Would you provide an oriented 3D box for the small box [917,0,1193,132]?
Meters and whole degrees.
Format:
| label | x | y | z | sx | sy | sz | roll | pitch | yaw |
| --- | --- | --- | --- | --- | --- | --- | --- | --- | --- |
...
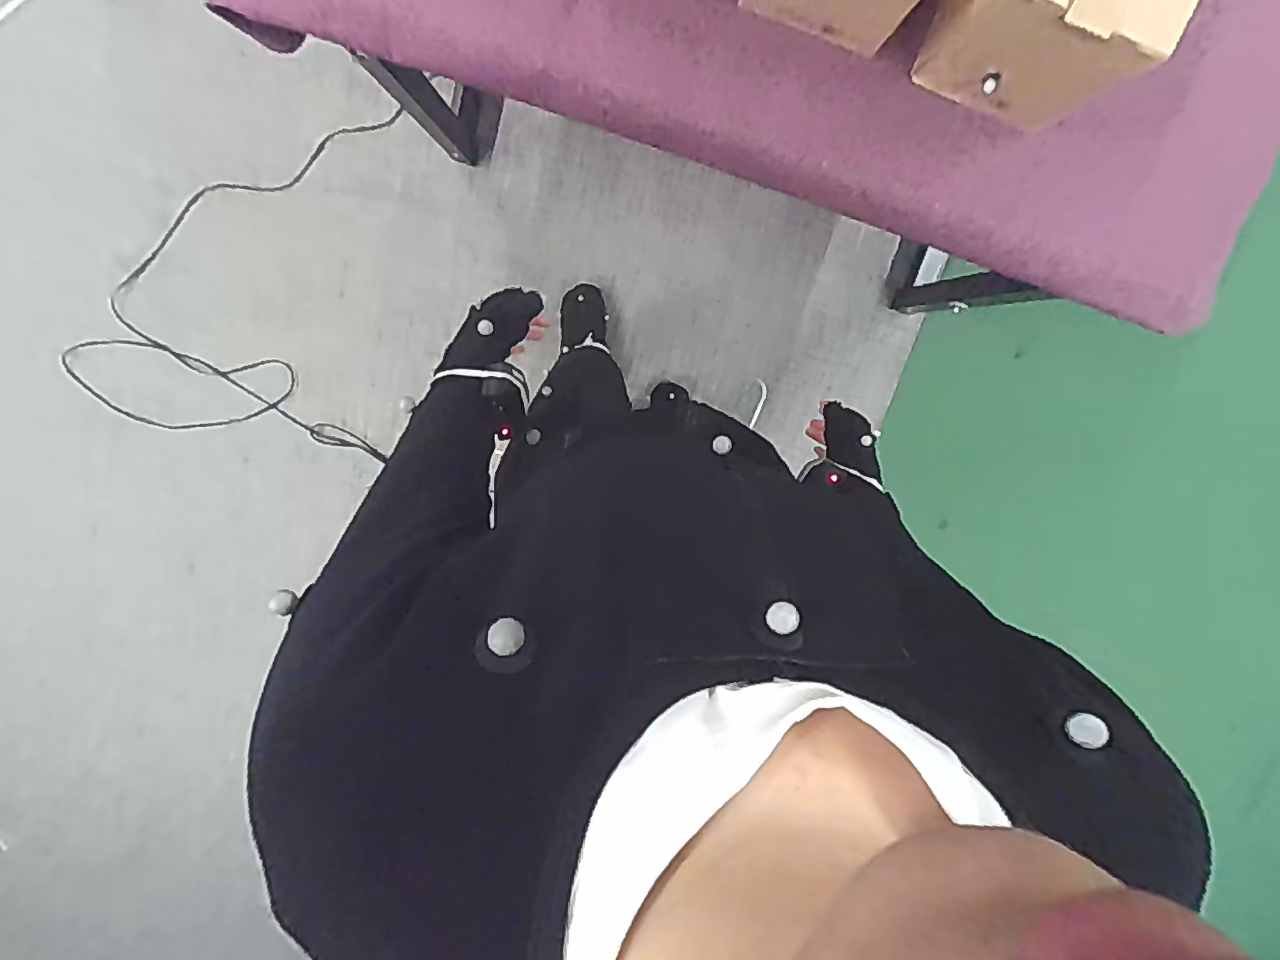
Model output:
| label | x | y | z | sx | sy | sz | roll | pitch | yaw |
| --- | --- | --- | --- | --- | --- | --- | --- | --- | --- |
| small box | 0.416 | -0.495 | 0.538 | 0.168 | 0.176 | 0.179 | 19 | 102 | -5 |
